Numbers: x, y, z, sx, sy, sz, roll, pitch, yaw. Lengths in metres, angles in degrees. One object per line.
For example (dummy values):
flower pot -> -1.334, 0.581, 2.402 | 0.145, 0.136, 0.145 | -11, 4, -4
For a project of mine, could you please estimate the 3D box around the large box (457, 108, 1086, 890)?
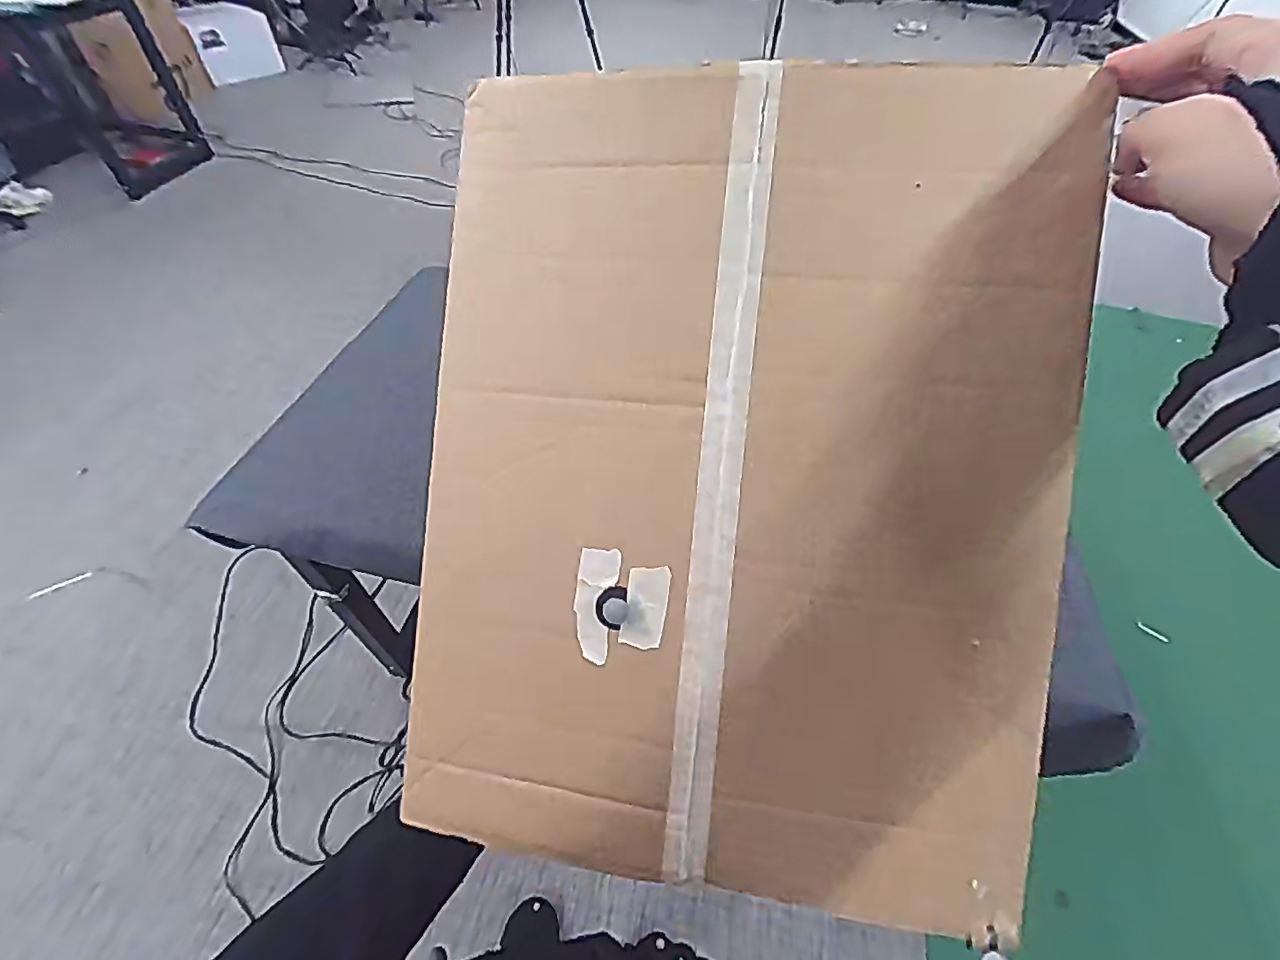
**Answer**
large box -> 0.075, -0.001, 0.437 | 0.320, 0.320, 0.408 | 5, 92, 9
